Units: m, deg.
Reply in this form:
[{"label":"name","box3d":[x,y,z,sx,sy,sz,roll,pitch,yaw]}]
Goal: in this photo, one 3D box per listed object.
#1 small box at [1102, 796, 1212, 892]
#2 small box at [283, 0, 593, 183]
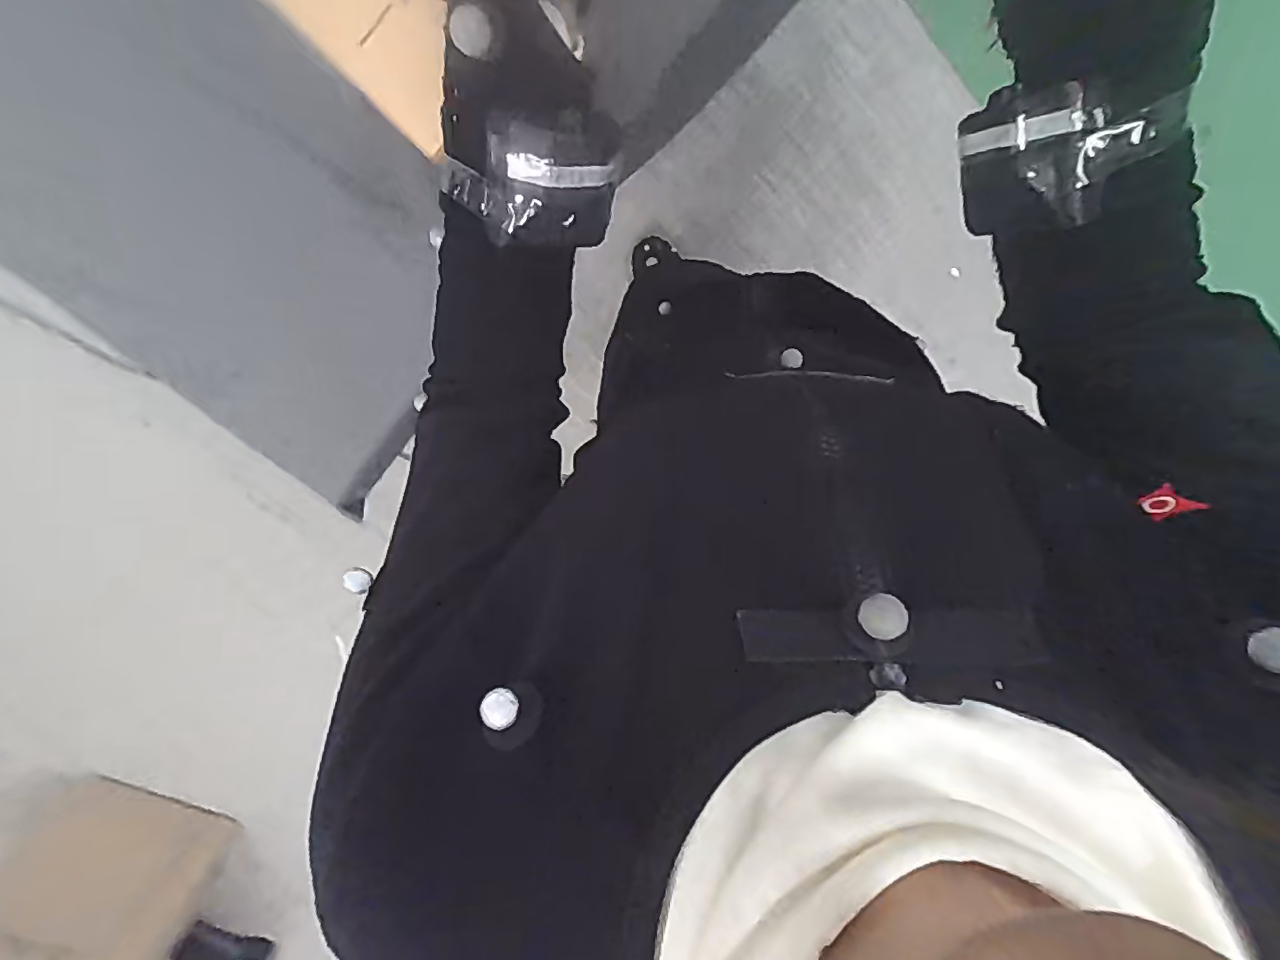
[{"label":"small box","box3d":[1.683,1.193,1.779,0.168,0.176,0.179,39,108,-13]},{"label":"small box","box3d":[-0.156,-0.395,0.465,0.179,0.176,0.168,-41,102,17]}]
